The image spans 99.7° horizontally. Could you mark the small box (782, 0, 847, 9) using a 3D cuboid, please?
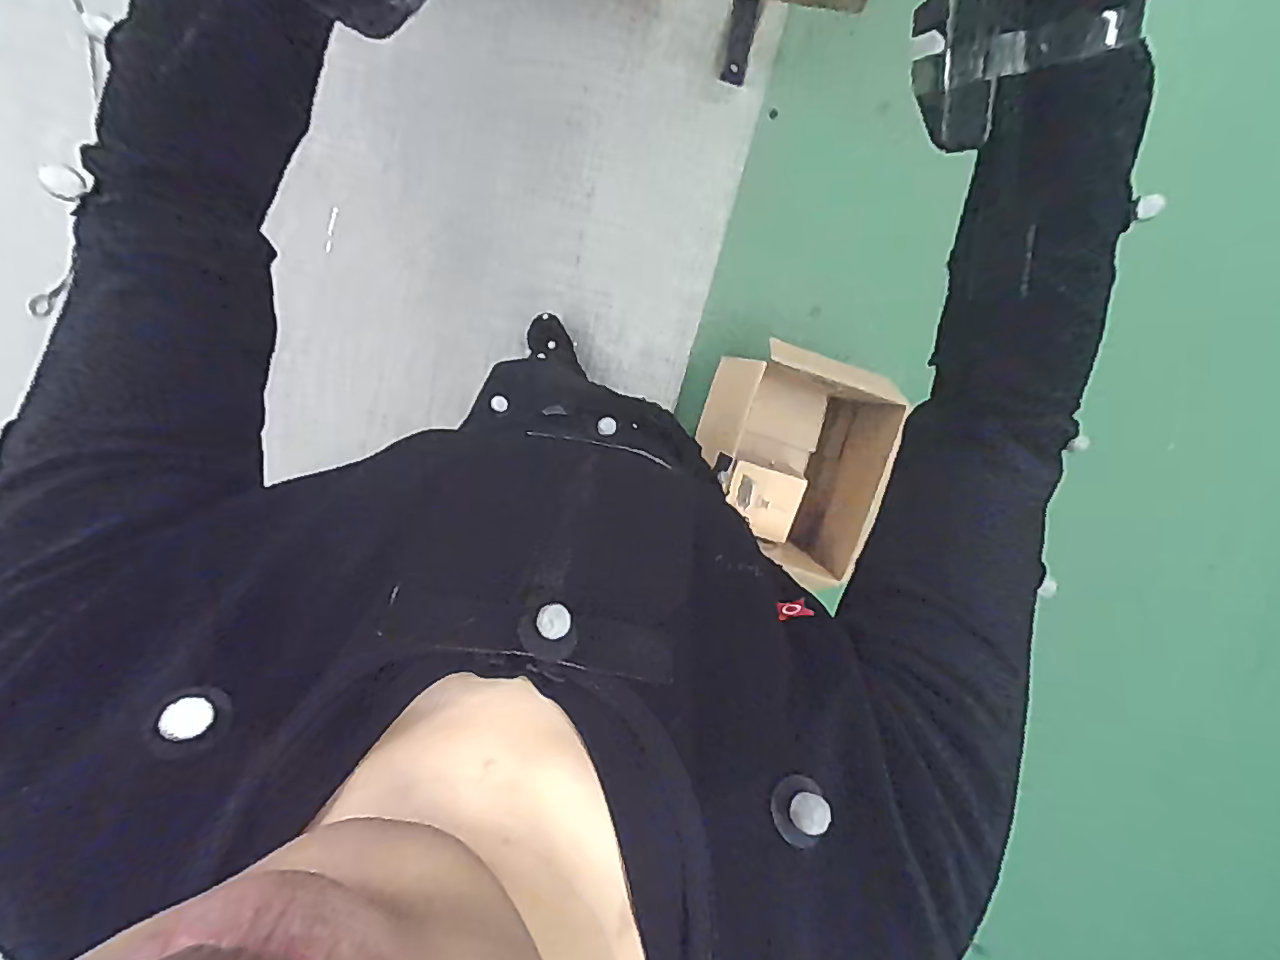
[{"bbox_3d":[0.062,-0.378,0.252,0.168,0.176,0.179,11,93,2],"label":"small box"}]
